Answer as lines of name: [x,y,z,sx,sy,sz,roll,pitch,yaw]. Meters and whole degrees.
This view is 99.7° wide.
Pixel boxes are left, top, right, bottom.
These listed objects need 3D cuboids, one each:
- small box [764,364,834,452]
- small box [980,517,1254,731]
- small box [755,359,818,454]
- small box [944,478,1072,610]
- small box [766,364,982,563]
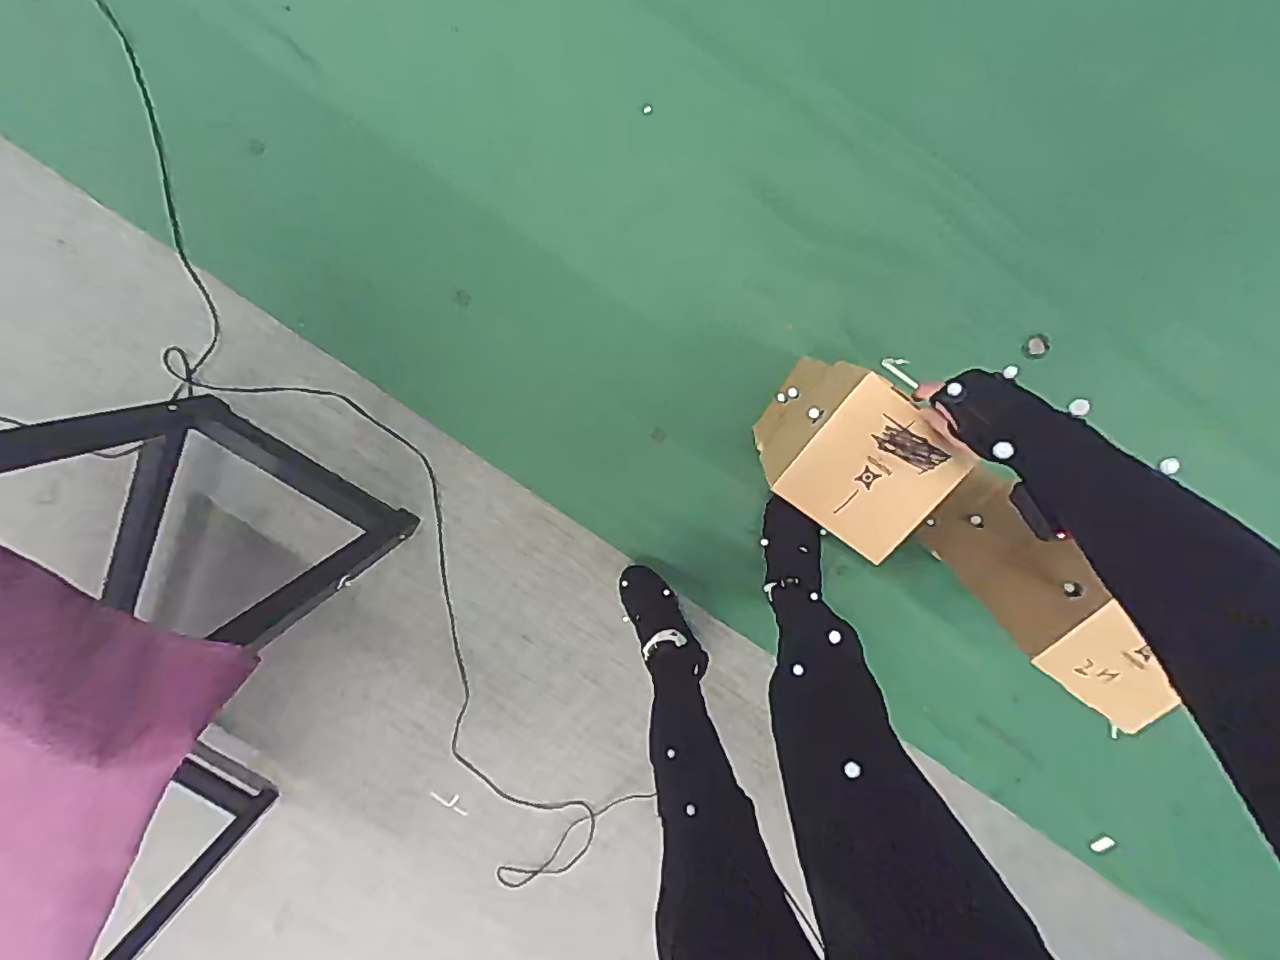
small box: [0.316,-0.071,0.855,0.179,0.176,0.168,32,108,-2]
small box: [0.602,0.178,0.714,0.168,0.176,0.179,36,110,-4]
small box: [0.331,-0.107,1.013,0.168,0.176,0.179,32,109,-2]
small box: [0.627,0.128,0.870,0.168,0.176,0.179,35,111,-5]
small box: [0.280,-0.033,0.700,0.168,0.176,0.179,36,108,-3]
